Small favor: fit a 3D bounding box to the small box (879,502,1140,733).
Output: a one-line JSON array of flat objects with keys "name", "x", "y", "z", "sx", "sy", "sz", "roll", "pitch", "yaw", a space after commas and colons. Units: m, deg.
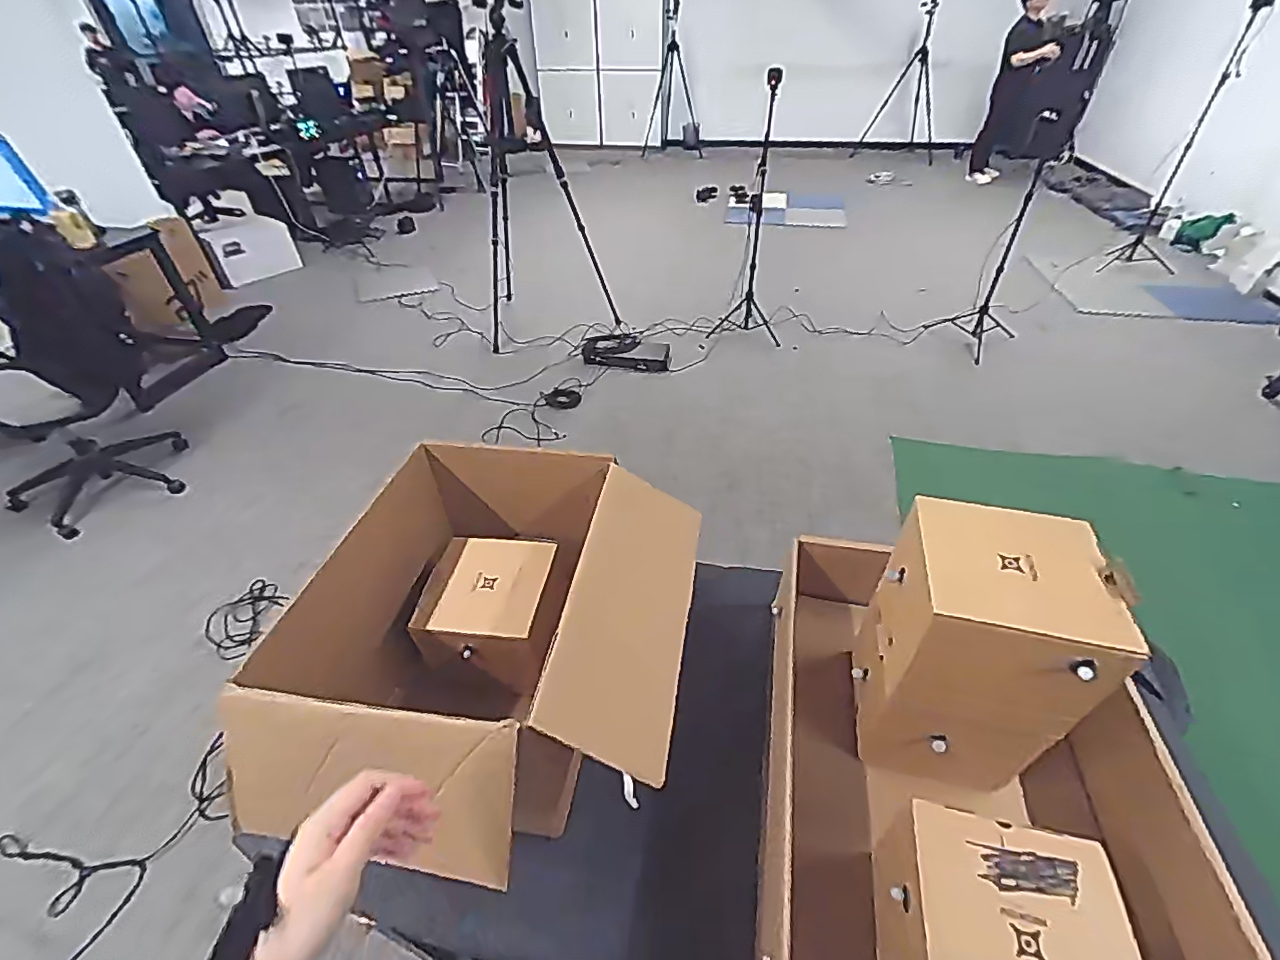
[{"name": "small box", "x": 0.373, "y": 0.150, "z": 0.594, "sx": 0.179, "sy": 0.176, "sz": 0.168, "roll": 9, "pitch": 43, "yaw": 12}]
